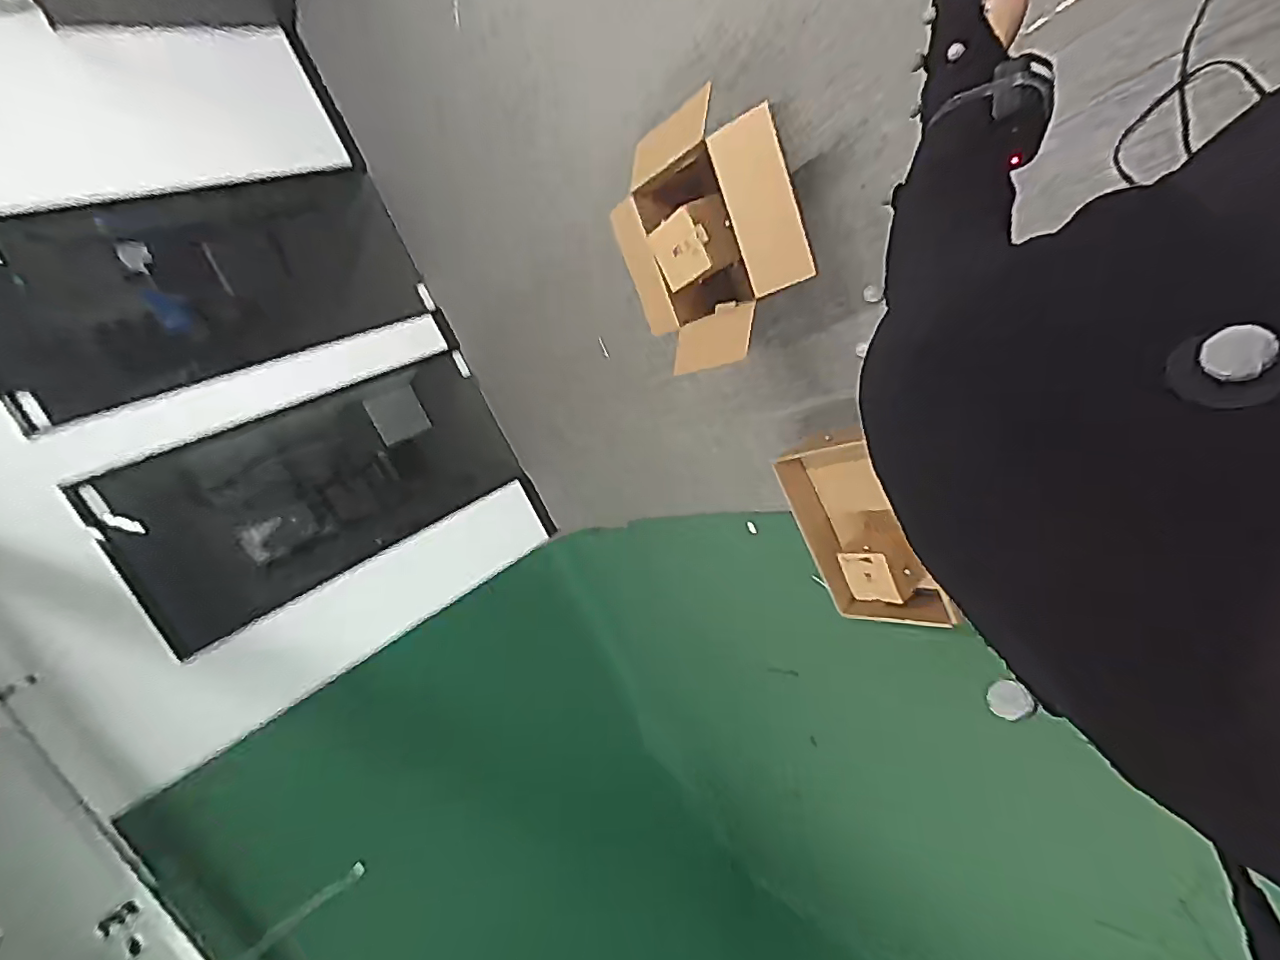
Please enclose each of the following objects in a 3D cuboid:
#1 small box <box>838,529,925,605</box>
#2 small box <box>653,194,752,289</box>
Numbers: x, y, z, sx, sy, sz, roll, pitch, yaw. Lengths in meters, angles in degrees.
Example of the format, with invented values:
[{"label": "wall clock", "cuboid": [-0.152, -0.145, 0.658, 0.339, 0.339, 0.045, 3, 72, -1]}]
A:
[{"label": "small box", "cuboid": [0.767, 0.270, 1.708, 0.168, 0.176, 0.179, -10, 107, 57]}, {"label": "small box", "cuboid": [0.173, -0.658, 1.495, 0.179, 0.176, 0.168, -11, 109, 56]}]
